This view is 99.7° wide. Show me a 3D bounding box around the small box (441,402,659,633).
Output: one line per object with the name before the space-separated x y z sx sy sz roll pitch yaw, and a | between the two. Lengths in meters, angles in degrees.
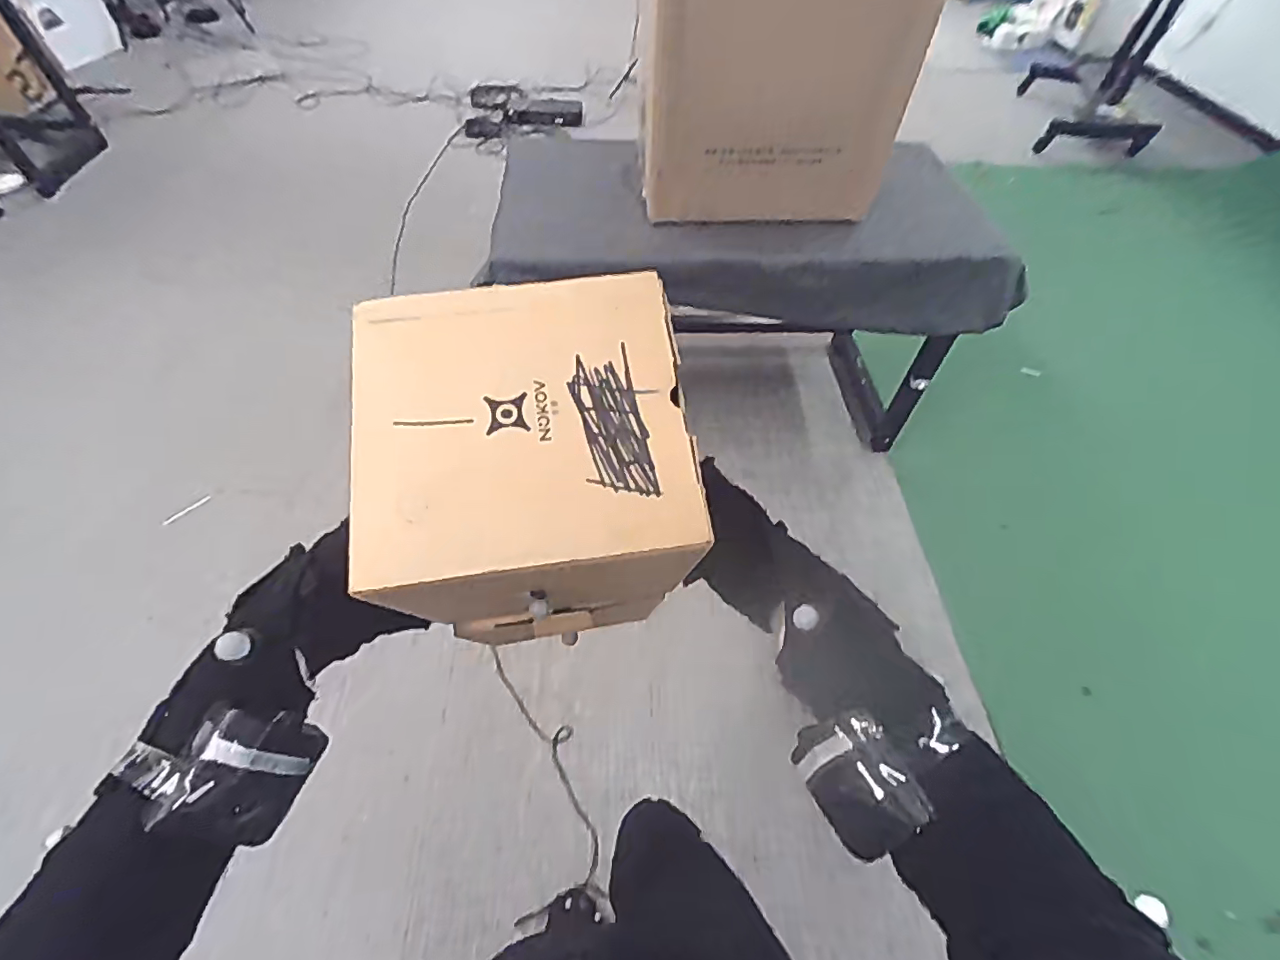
small box | -0.082 0.047 0.521 0.168 0.176 0.179 -8 72 -8
